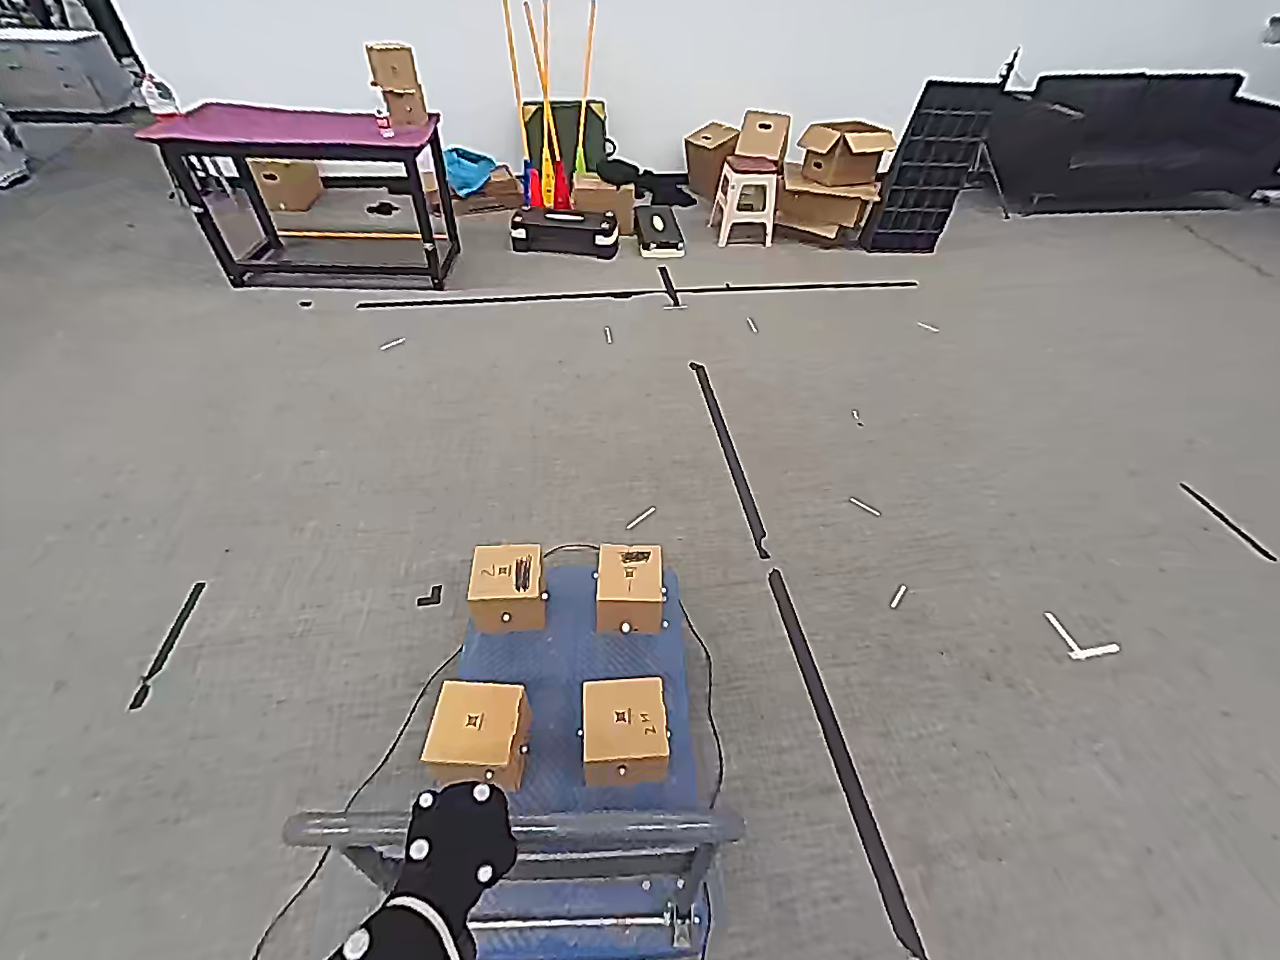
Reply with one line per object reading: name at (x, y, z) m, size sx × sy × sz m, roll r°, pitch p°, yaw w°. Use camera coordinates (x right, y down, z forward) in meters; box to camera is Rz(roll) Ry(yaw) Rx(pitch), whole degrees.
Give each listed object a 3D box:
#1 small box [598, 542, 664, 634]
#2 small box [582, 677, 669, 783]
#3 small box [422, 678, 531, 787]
small box at (-0.025, 0.289, 1.449) m, size 0.168 × 0.176 × 0.179 m, roll 2°, pitch 47°, yaw -1°
small box at (-0.034, 0.552, 1.190) m, size 0.179 × 0.176 × 0.168 m, roll -1°, pitch 46°, yaw -4°
small box at (-0.344, 0.551, 1.174) m, size 0.179 × 0.176 × 0.168 m, roll 4°, pitch 45°, yaw -1°
